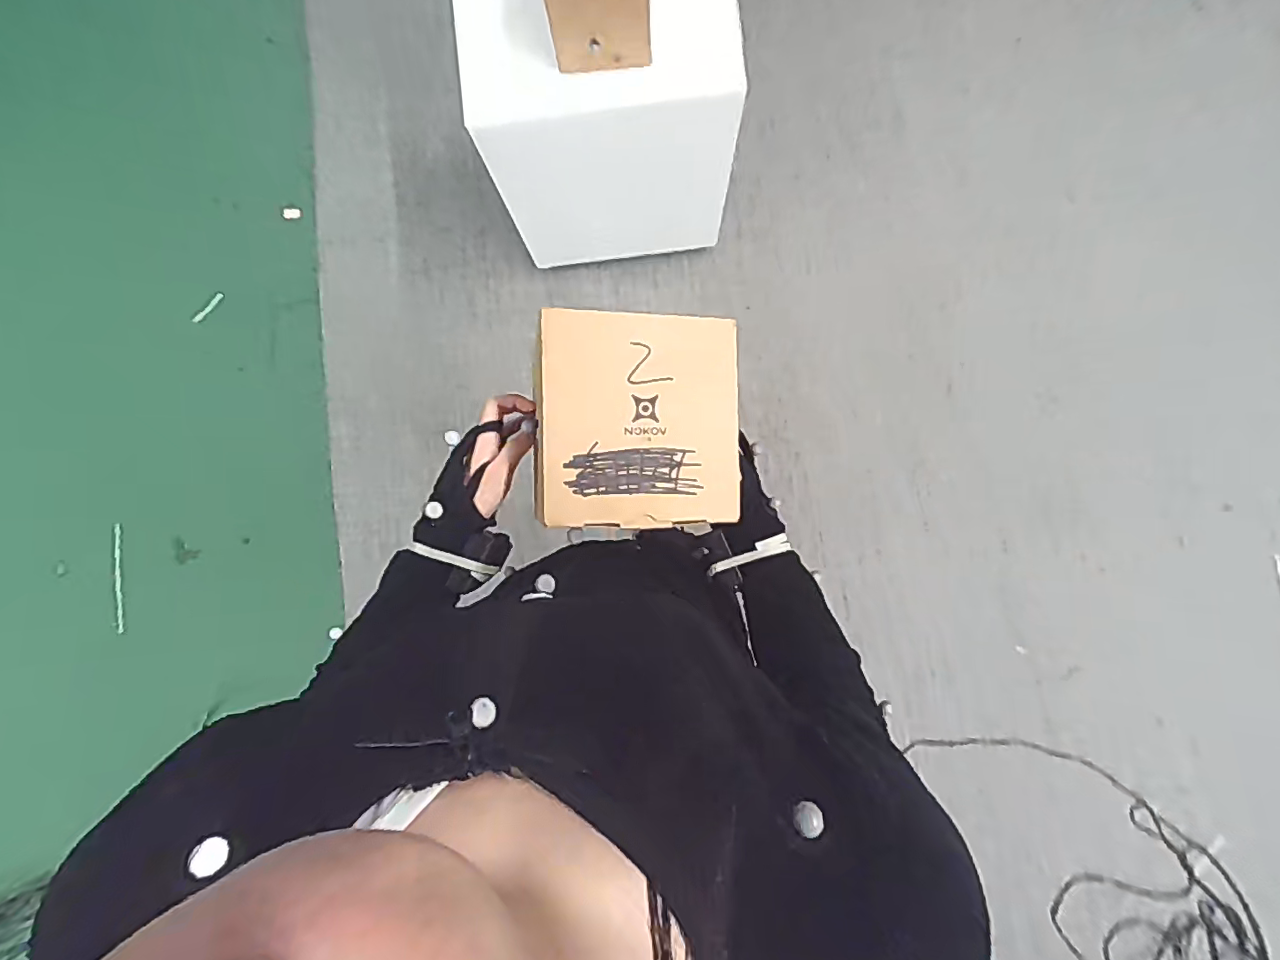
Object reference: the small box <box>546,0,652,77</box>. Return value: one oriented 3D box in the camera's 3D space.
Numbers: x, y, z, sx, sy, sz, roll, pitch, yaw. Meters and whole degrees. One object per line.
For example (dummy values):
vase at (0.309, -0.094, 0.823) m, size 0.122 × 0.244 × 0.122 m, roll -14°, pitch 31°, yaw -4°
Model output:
small box at (-0.067, -0.811, 0.883) m, size 0.168 × 0.176 × 0.179 m, roll -4°, pitch 85°, yaw 2°
